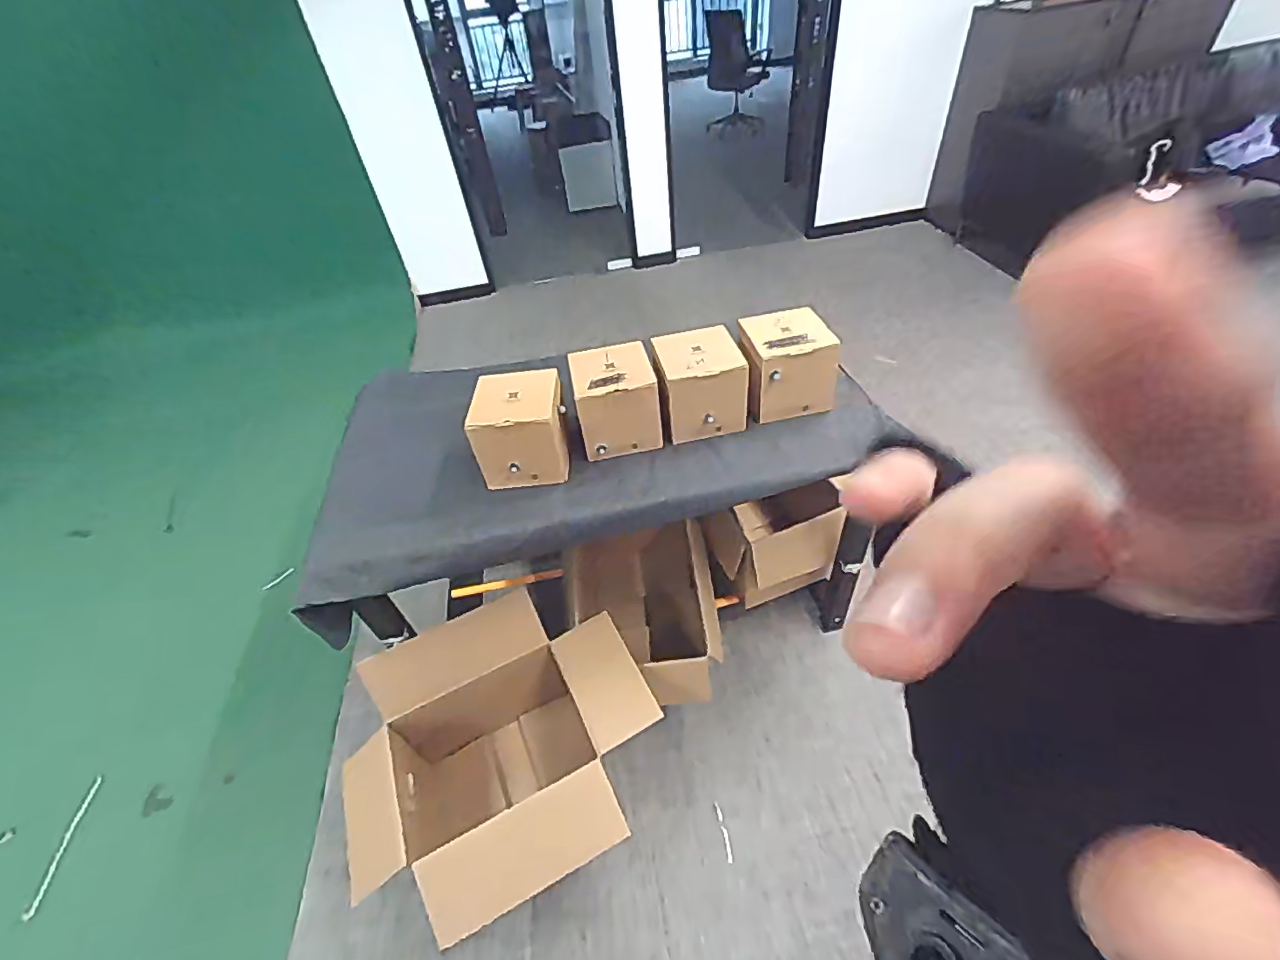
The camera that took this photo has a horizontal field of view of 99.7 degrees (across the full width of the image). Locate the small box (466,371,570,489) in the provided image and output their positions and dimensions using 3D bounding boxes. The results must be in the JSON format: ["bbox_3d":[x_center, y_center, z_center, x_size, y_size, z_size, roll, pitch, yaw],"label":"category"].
[{"bbox_3d":[-0.242,-0.103,1.124,0.168,0.176,0.179,-6,44,2],"label":"small box"}]
